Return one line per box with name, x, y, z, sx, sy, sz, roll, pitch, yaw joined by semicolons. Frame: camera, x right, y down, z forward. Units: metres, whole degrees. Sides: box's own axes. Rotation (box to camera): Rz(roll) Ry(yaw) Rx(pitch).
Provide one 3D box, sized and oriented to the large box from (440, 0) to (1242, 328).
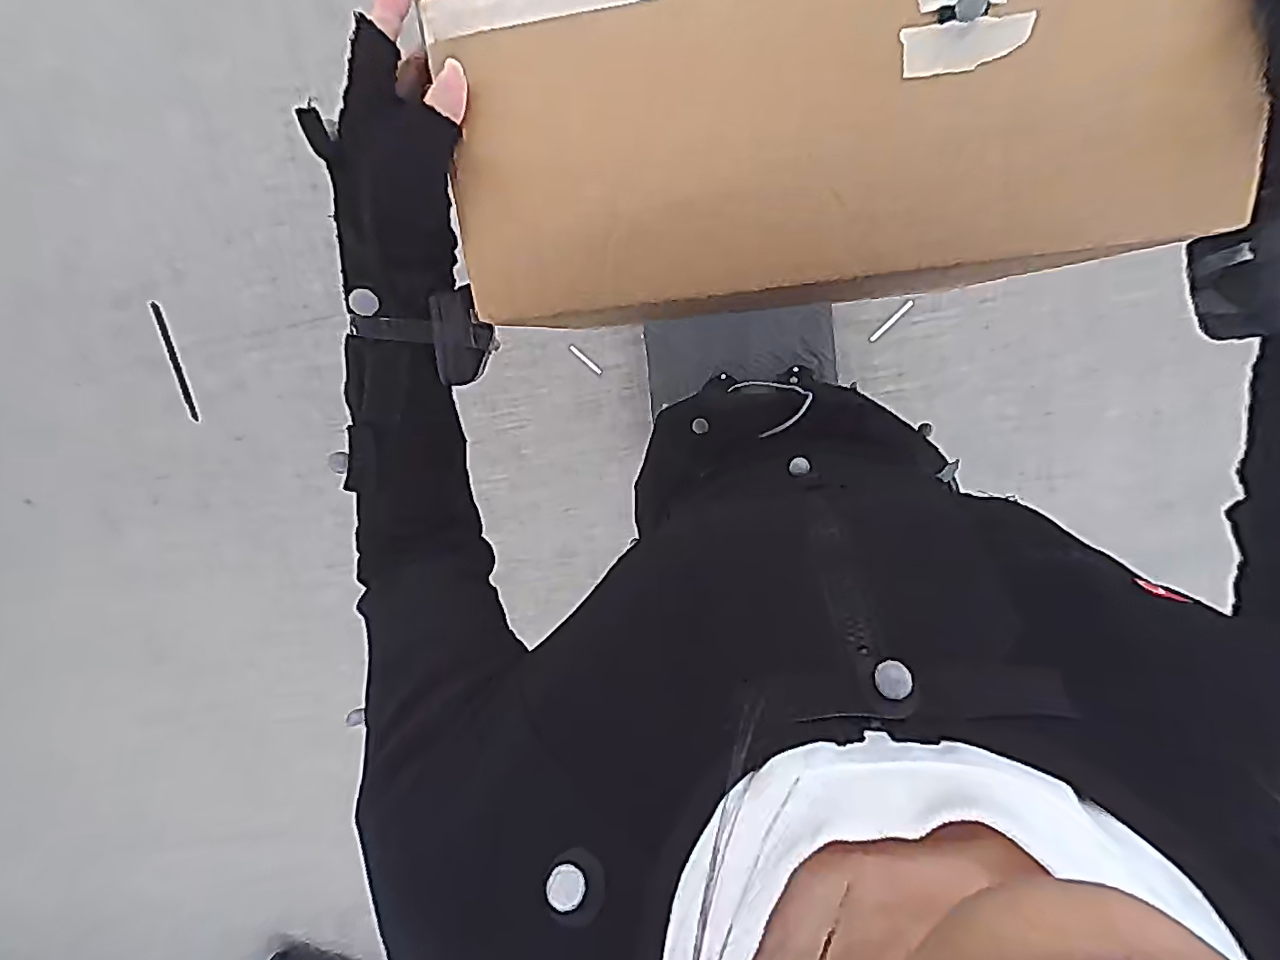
large box;0.100;-0.304;0.417;0.408;0.320;0.320;-5;105;8
